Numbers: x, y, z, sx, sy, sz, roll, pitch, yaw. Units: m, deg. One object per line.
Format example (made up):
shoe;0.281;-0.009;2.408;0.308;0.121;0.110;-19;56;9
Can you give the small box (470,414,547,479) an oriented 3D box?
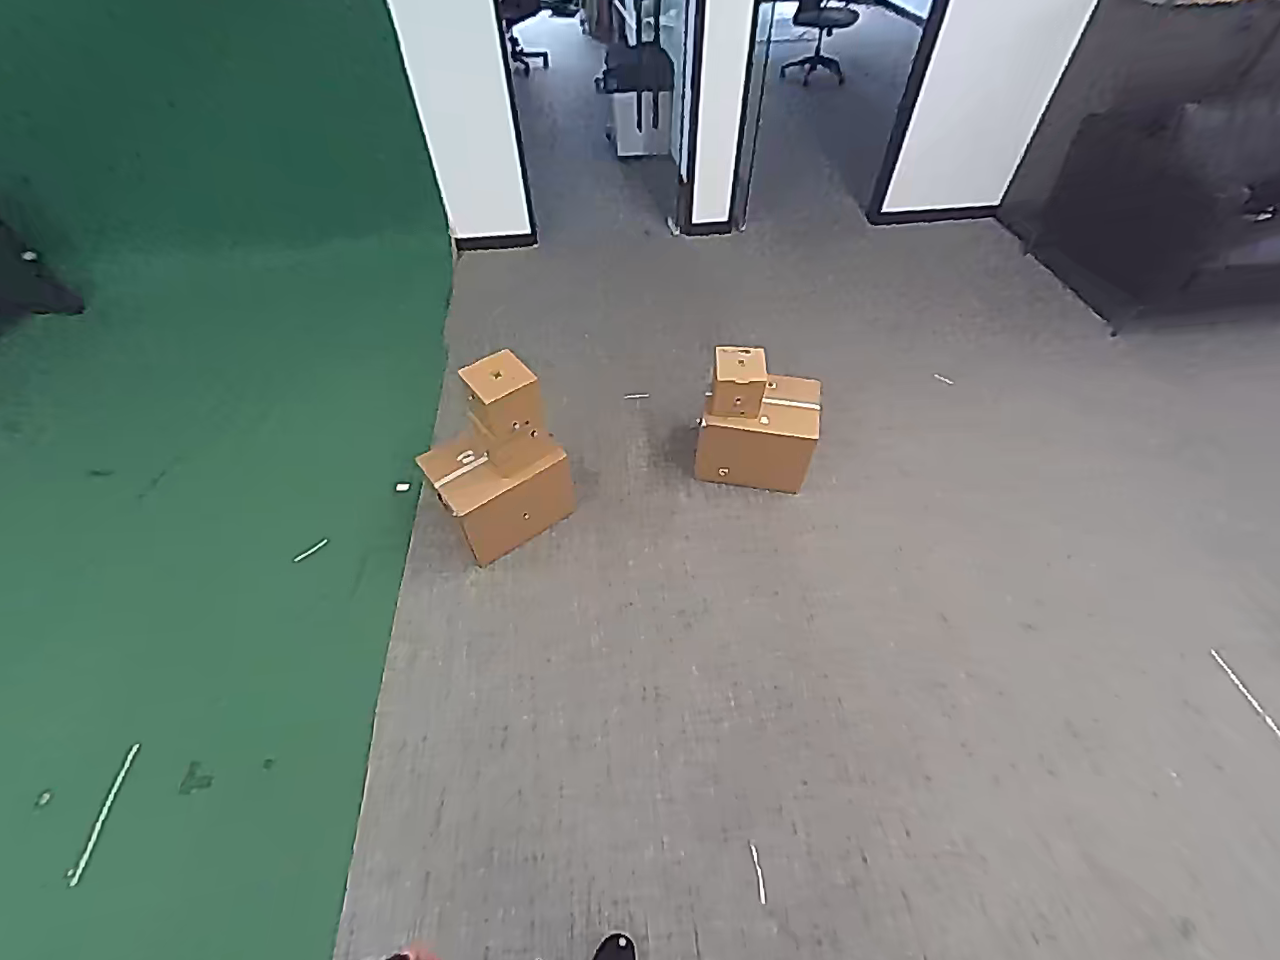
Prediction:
small box;-0.408;-0.138;1.718;0.179;0.176;0.168;-33;57;-24

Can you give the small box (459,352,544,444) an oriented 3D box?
small box;-0.402;-0.238;1.589;0.168;0.176;0.179;-32;58;-22

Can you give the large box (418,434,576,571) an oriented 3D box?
large box;-0.483;0.037;1.893;0.408;0.320;0.320;-33;56;-23

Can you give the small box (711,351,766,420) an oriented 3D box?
small box;0.336;-0.324;1.870;0.168;0.176;0.179;4;52;2
